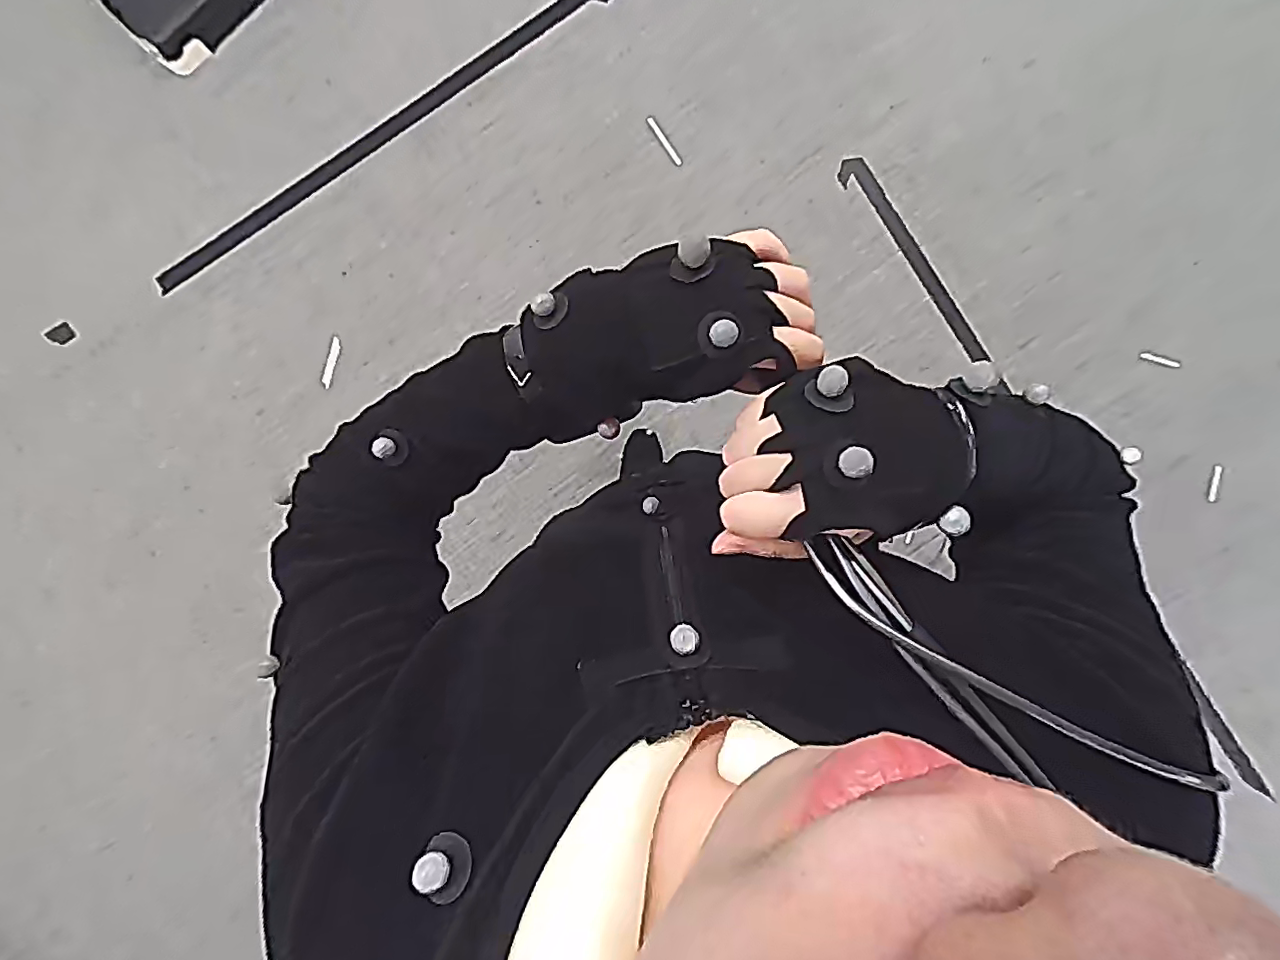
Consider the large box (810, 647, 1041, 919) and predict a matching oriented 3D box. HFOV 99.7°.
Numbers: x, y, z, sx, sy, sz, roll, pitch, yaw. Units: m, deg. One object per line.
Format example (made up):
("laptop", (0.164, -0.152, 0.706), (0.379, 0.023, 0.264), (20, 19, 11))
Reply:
("large box", (0.611, 0.643, 1.214), (0.320, 0.320, 0.408), (-10, 93, -2))
